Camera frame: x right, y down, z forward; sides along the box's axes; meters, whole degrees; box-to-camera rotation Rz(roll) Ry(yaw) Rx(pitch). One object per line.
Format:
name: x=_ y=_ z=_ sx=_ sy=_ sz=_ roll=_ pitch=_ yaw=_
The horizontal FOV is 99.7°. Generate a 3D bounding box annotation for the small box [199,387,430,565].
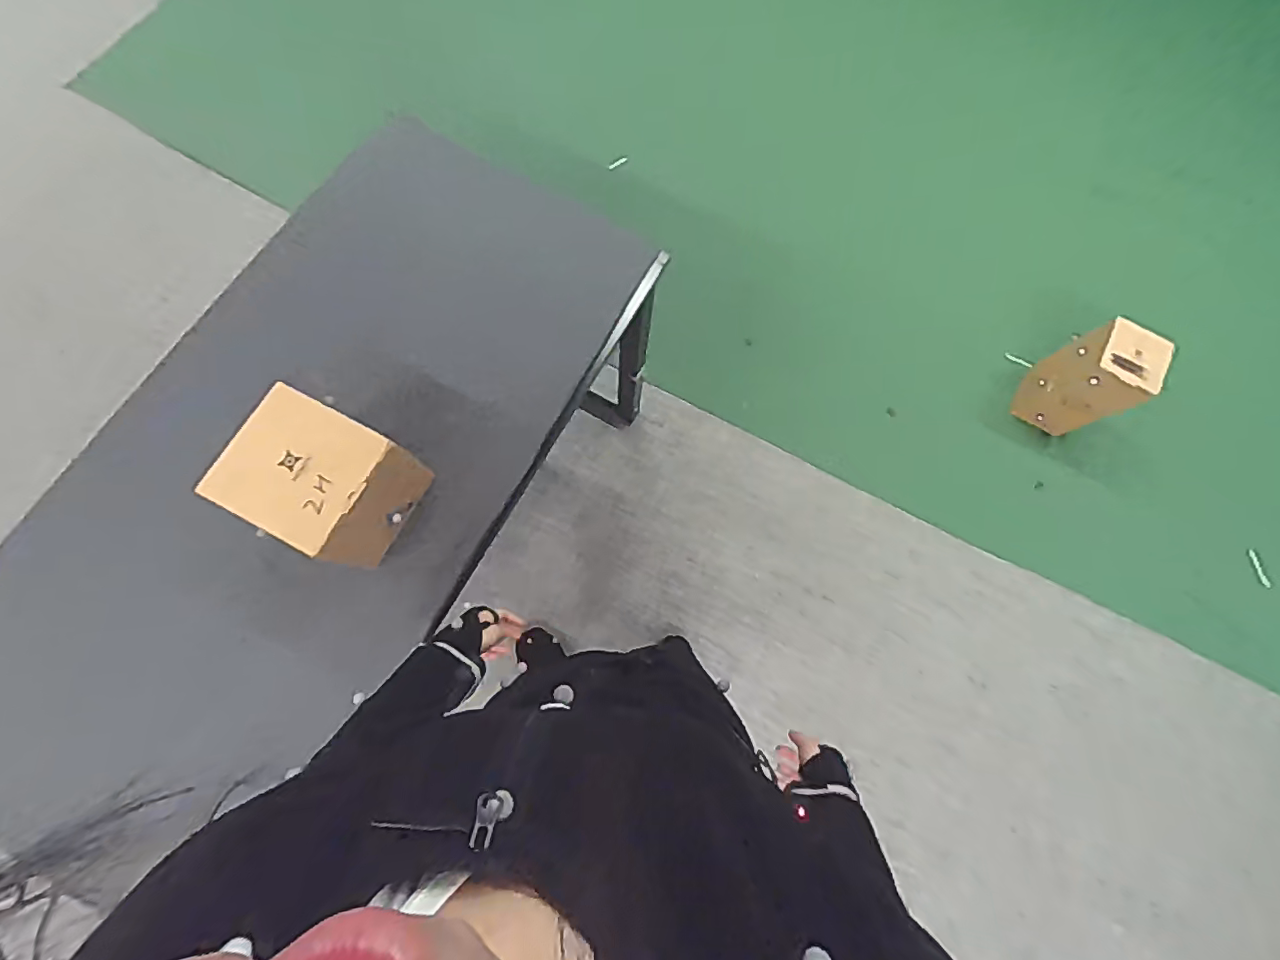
small box: x=-0.427 y=0.007 z=0.744 sx=0.179 sy=0.176 sz=0.168 roll=27 pitch=76 yaw=4

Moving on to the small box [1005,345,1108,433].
small box: x=1.279 y=-0.275 z=1.672 sx=0.168 sy=0.176 sz=0.179 roll=29 pitch=76 yaw=4
